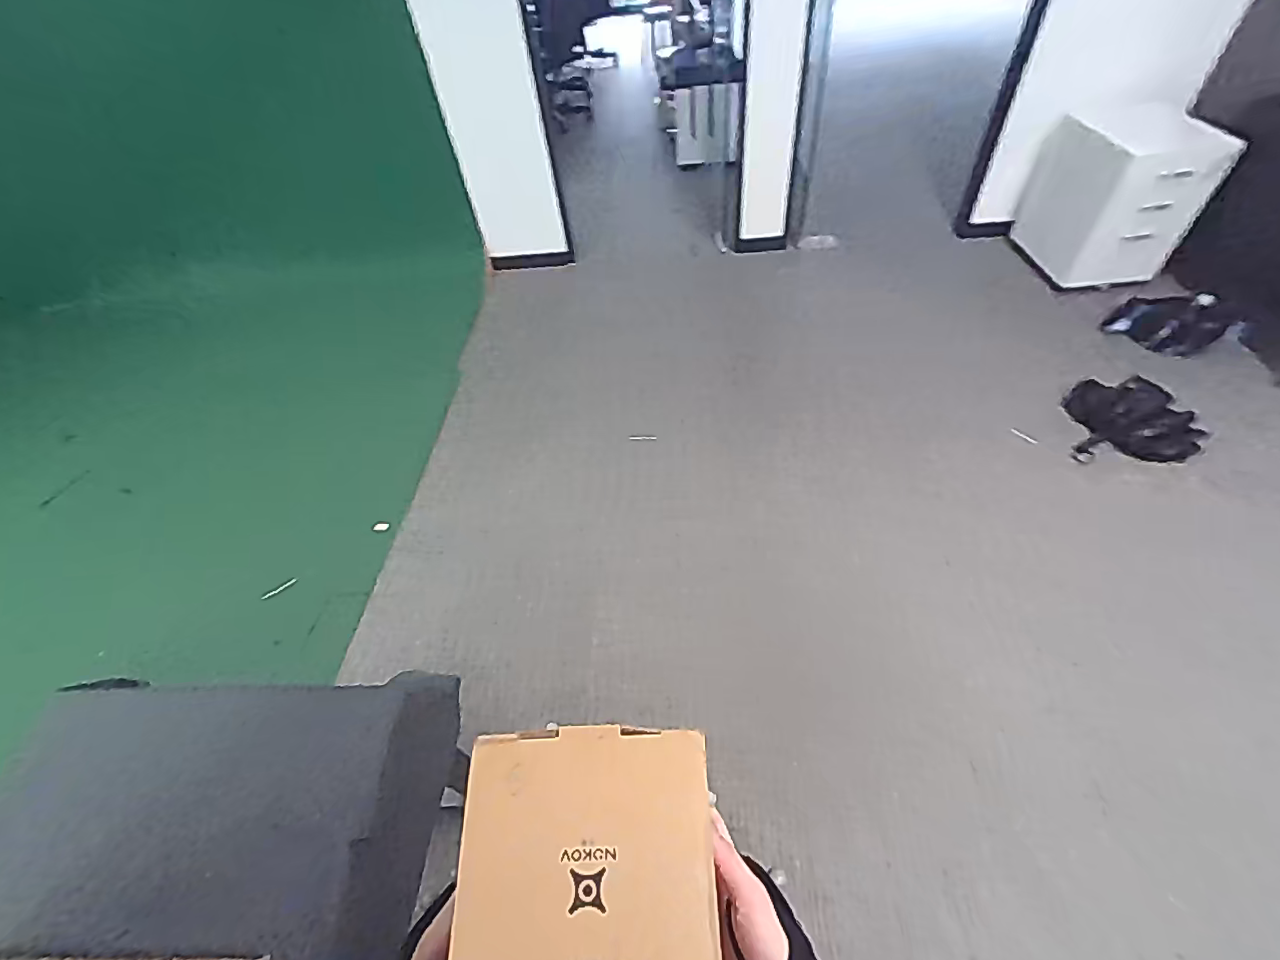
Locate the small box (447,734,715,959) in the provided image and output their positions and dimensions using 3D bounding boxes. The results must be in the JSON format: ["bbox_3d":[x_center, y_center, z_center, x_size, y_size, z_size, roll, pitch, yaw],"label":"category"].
[{"bbox_3d":[-0.040,0.299,0.415,0.168,0.176,0.179,1,61,-3],"label":"small box"}]
